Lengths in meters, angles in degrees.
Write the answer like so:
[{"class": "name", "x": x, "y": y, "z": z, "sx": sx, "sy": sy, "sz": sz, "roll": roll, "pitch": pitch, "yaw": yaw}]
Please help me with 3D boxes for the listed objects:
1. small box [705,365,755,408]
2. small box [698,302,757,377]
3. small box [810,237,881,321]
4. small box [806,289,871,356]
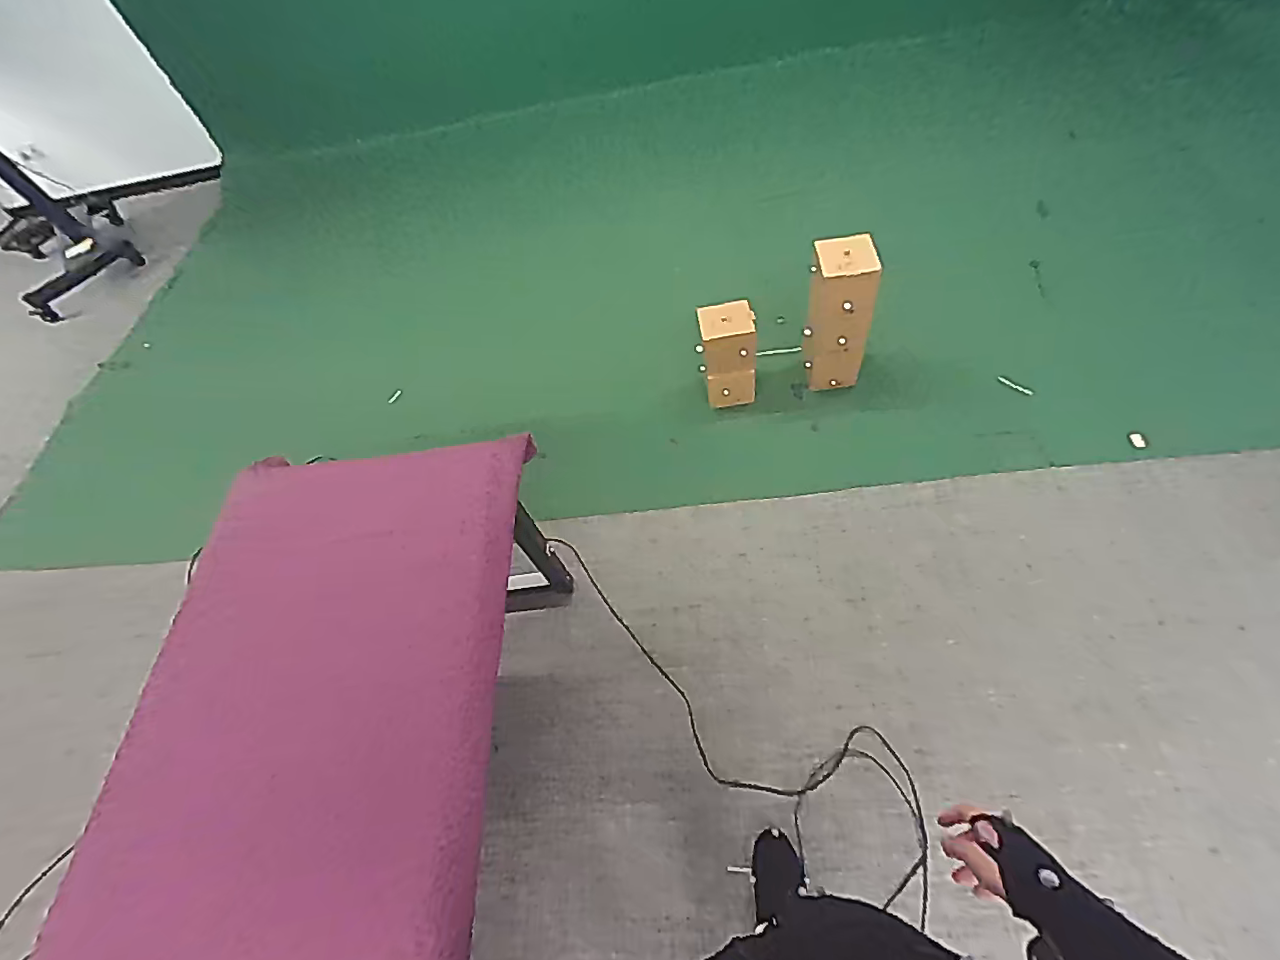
[{"class": "small box", "x": 0.329, "y": -0.380, "z": 1.990, "sx": 0.168, "sy": 0.176, "sz": 0.179, "roll": -9, "pitch": 55, "yaw": 6}, {"class": "small box", "x": 0.301, "y": -0.481, "z": 1.865, "sx": 0.179, "sy": 0.176, "sz": 0.168, "roll": -9, "pitch": 55, "yaw": 6}, {"class": "small box", "x": 0.634, "y": -0.624, "z": 1.688, "sx": 0.168, "sy": 0.176, "sz": 0.179, "roll": -5, "pitch": 58, "yaw": 8}, {"class": "small box", "x": 0.664, "y": -0.535, "z": 1.824, "sx": 0.168, "sy": 0.176, "sz": 0.179, "roll": -5, "pitch": 58, "yaw": 7}]
